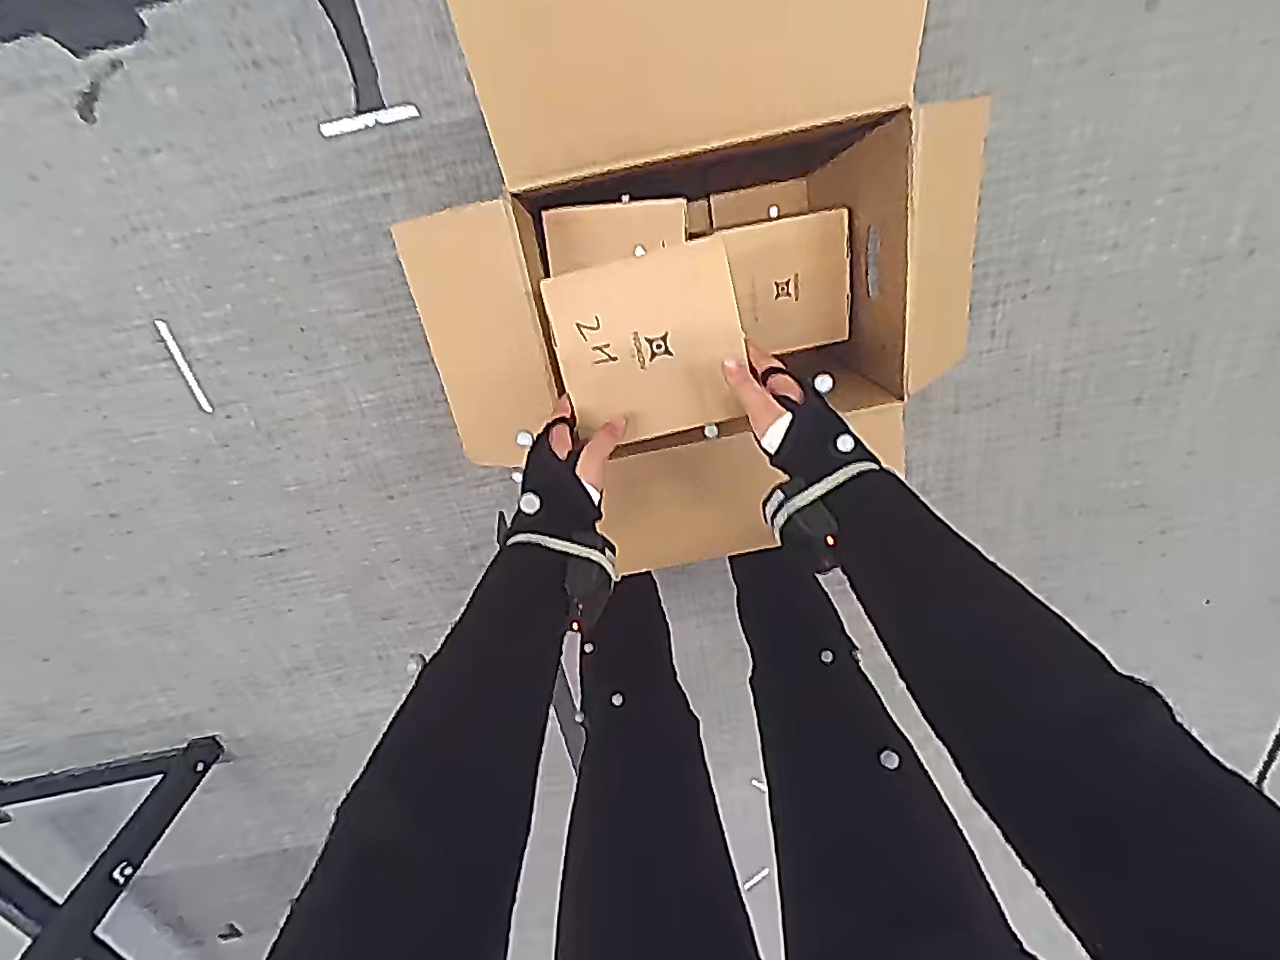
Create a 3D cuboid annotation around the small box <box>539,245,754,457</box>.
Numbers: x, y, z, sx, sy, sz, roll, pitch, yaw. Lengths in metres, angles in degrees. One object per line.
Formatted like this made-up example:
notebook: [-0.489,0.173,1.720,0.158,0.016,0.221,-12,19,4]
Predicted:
small box: [0.010,-0.130,0.580,0.179,0.176,0.168,-12,98,5]
